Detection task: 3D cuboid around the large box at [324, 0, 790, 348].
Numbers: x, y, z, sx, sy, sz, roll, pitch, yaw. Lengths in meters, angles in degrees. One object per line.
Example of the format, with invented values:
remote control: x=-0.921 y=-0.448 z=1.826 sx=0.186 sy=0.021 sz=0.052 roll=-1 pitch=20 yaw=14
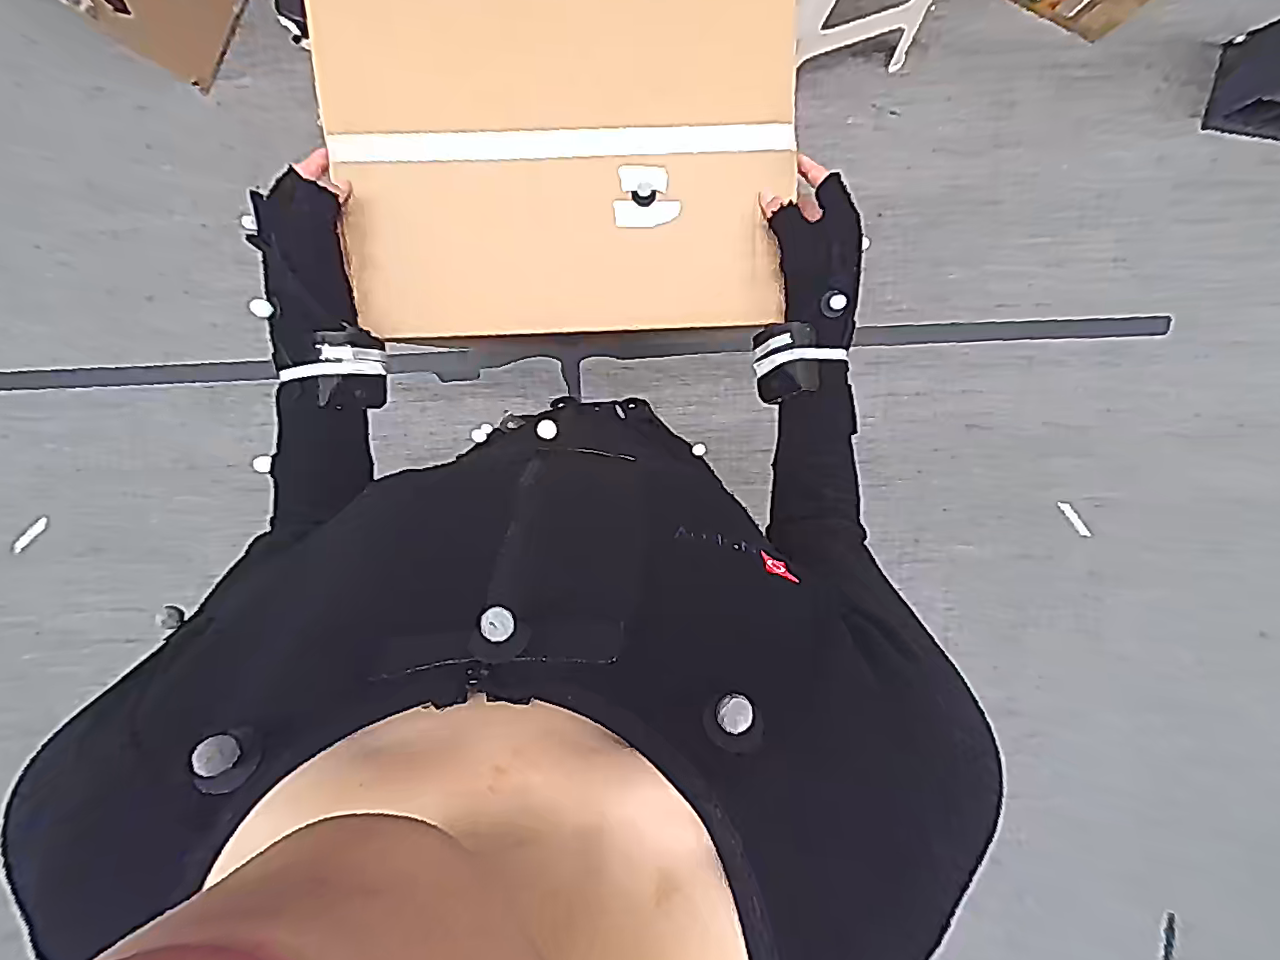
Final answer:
large box: x=-0.073 y=-0.328 z=0.629 sx=0.408 sy=0.320 sz=0.320 roll=-3 pitch=102 yaw=-3
